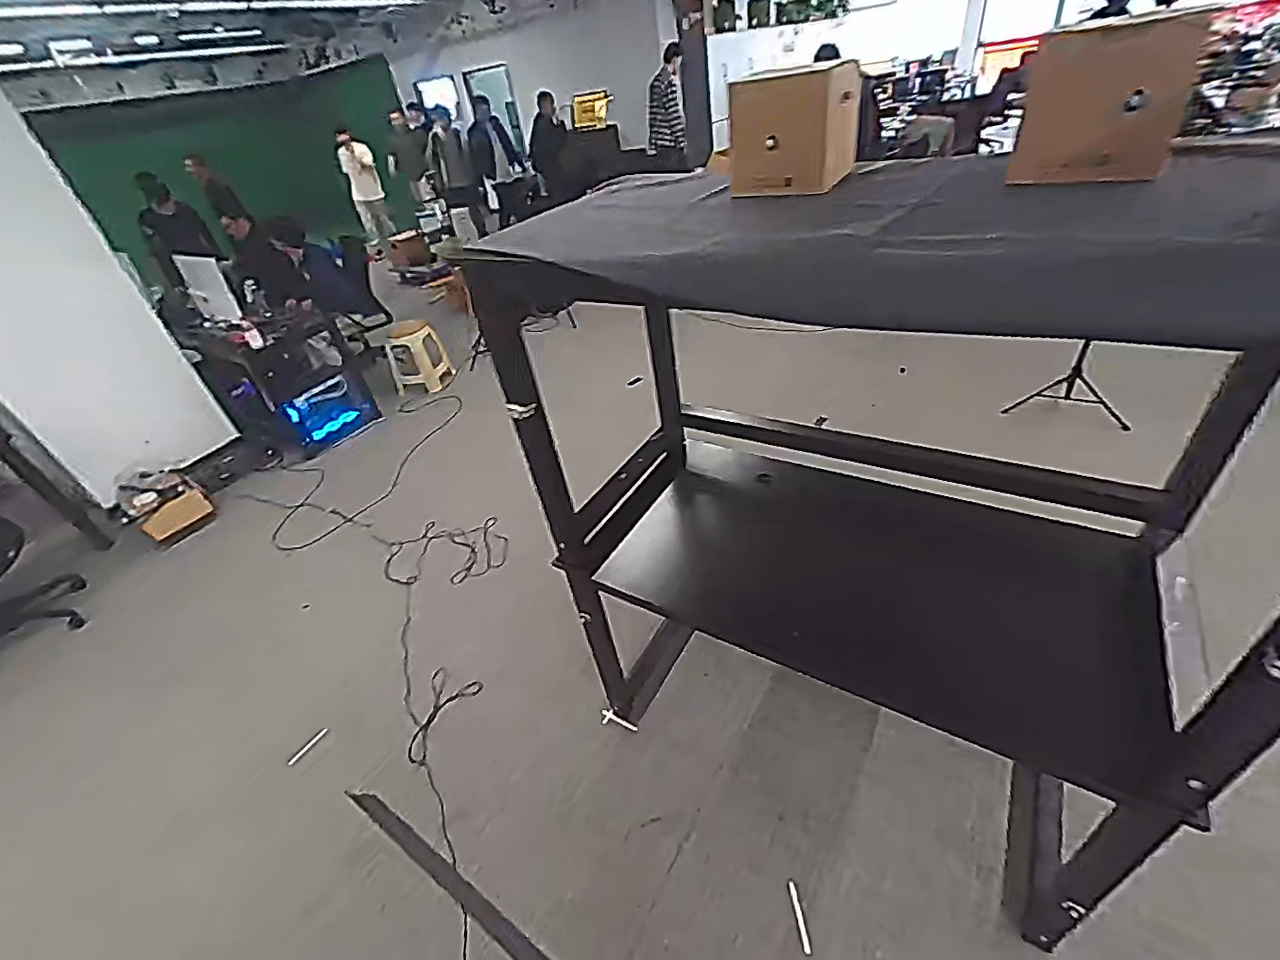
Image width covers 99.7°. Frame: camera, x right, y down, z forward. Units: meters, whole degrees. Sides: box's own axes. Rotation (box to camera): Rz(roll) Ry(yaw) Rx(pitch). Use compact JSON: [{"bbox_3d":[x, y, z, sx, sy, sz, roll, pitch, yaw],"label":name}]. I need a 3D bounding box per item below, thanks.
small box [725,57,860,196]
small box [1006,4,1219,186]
[{"bbox_3d":[0.258,-0.586,0.909,0.168,0.176,0.179,15,44,29],"label":"small box"},{"bbox_3d":[0.608,-0.496,0.710,0.168,0.176,0.179,21,46,33],"label":"small box"}]
